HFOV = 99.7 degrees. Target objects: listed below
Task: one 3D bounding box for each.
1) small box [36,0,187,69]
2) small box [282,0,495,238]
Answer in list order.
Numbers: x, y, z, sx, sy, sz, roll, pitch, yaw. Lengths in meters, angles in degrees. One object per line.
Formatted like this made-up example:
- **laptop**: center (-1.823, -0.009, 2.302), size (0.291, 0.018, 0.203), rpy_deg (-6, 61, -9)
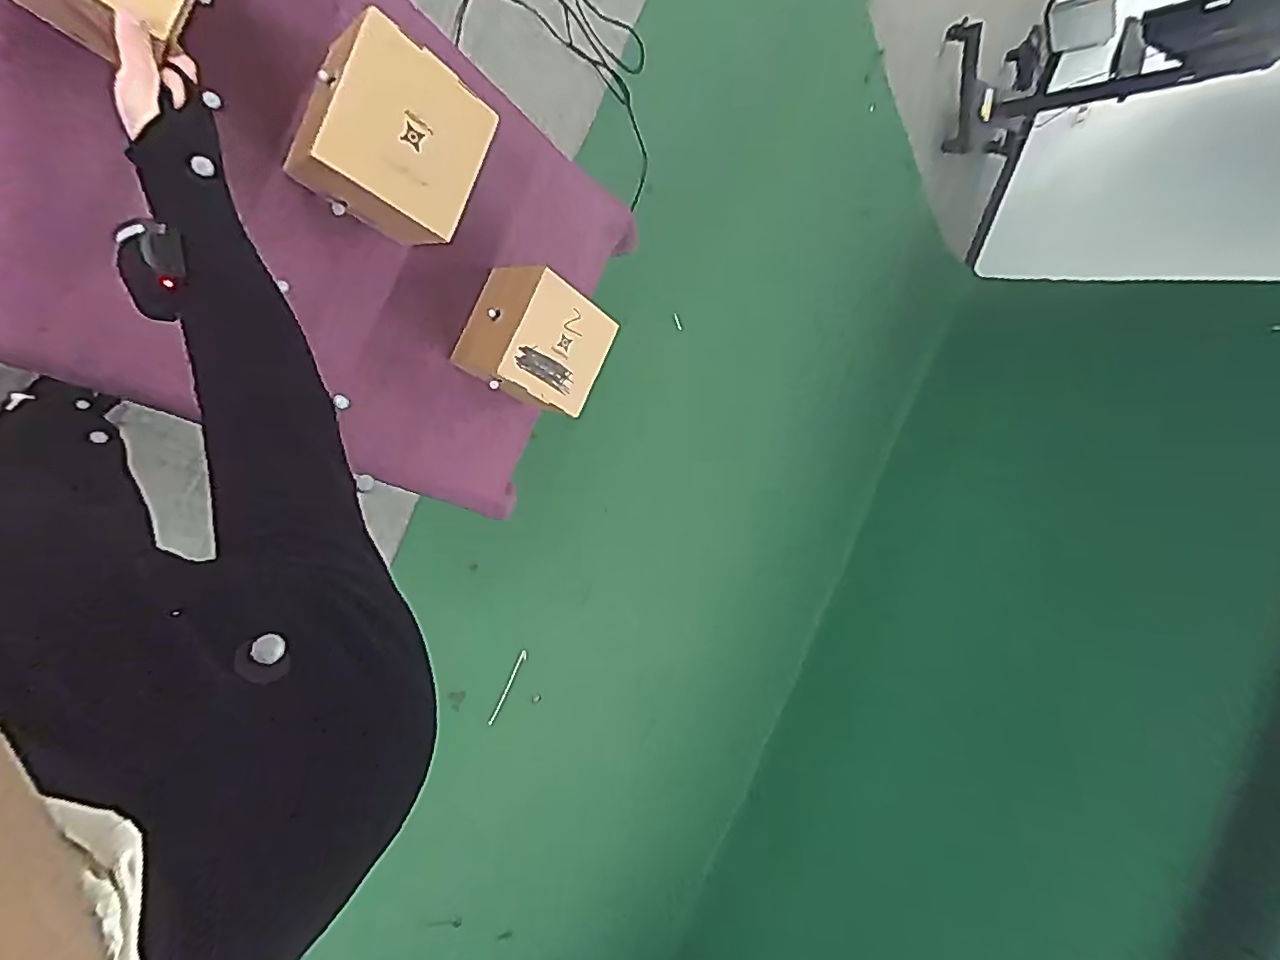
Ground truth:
- **small box**: center (-0.496, -0.514, 0.474), size (0.168, 0.176, 0.179), rpy_deg (24, 88, -47)
- **small box**: center (-0.321, -0.431, 0.682), size (0.168, 0.176, 0.179), rpy_deg (23, 90, -46)
